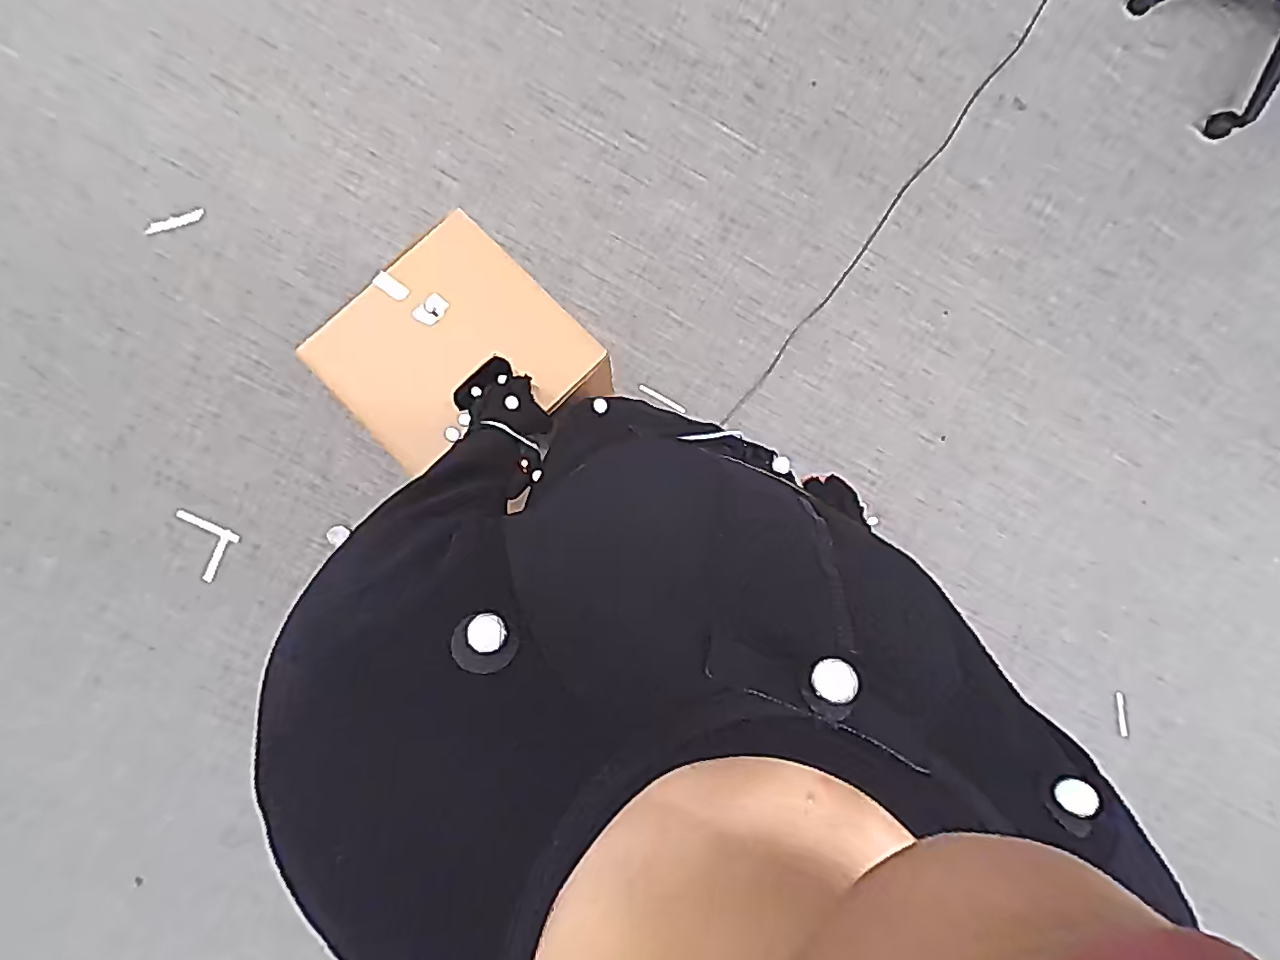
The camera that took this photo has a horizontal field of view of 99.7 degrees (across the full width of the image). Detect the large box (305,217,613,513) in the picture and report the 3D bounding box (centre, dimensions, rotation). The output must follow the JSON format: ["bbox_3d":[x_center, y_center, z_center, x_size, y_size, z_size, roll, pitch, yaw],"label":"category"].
[{"bbox_3d":[-0.271,-0.162,0.959,0.320,0.408,0.320,-43,86,-5],"label":"large box"}]
